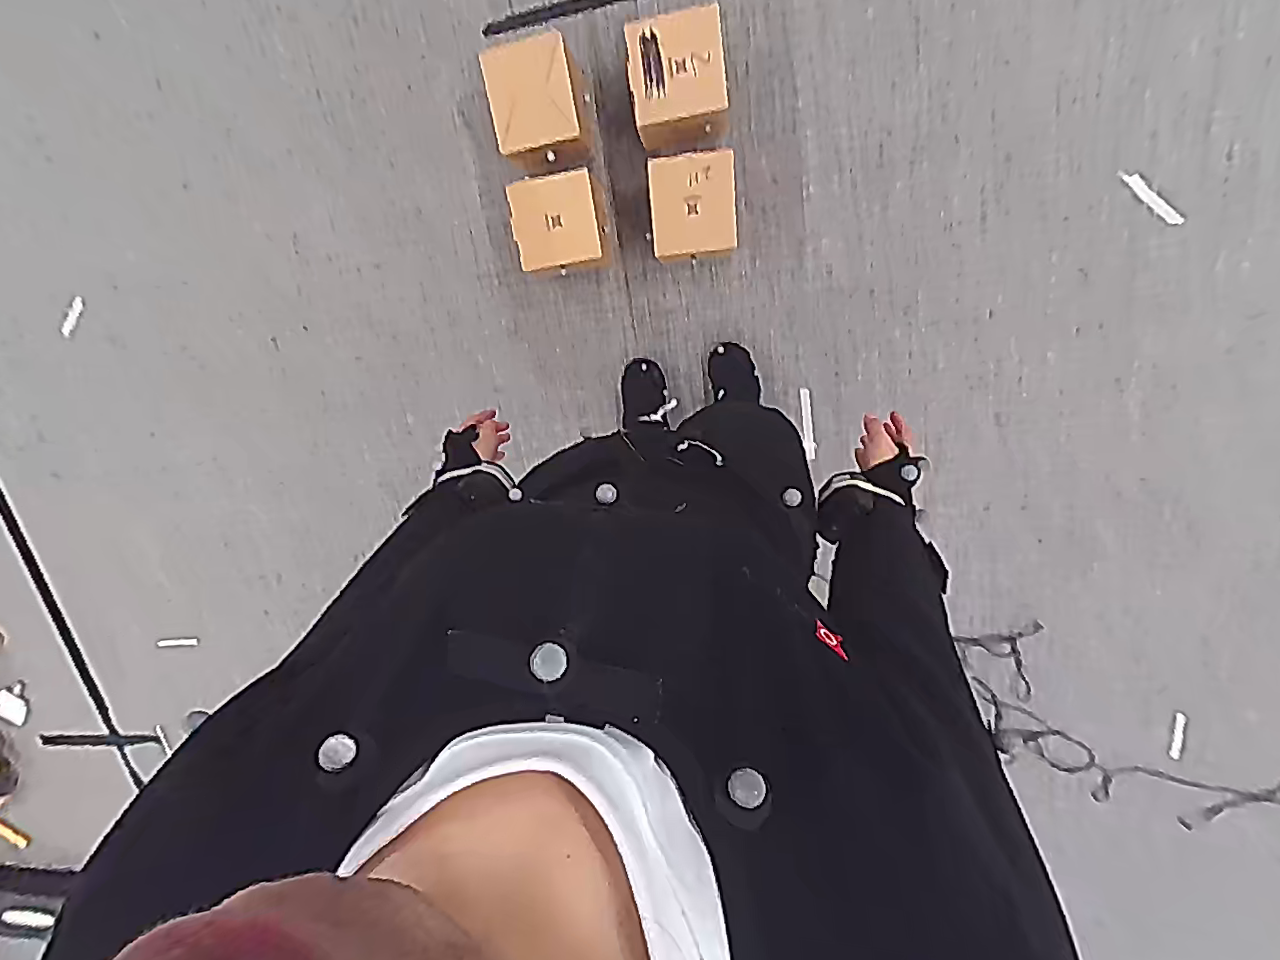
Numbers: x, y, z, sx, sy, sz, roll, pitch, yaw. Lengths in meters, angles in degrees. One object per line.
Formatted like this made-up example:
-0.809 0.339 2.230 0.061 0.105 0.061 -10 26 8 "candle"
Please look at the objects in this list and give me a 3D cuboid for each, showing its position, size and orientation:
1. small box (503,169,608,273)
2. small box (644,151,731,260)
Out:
-0.171 -0.551 1.171 0.179 0.176 0.168 -6 107 10 "small box"
0.104 -0.562 1.132 0.168 0.176 0.179 -3 107 7 "small box"
